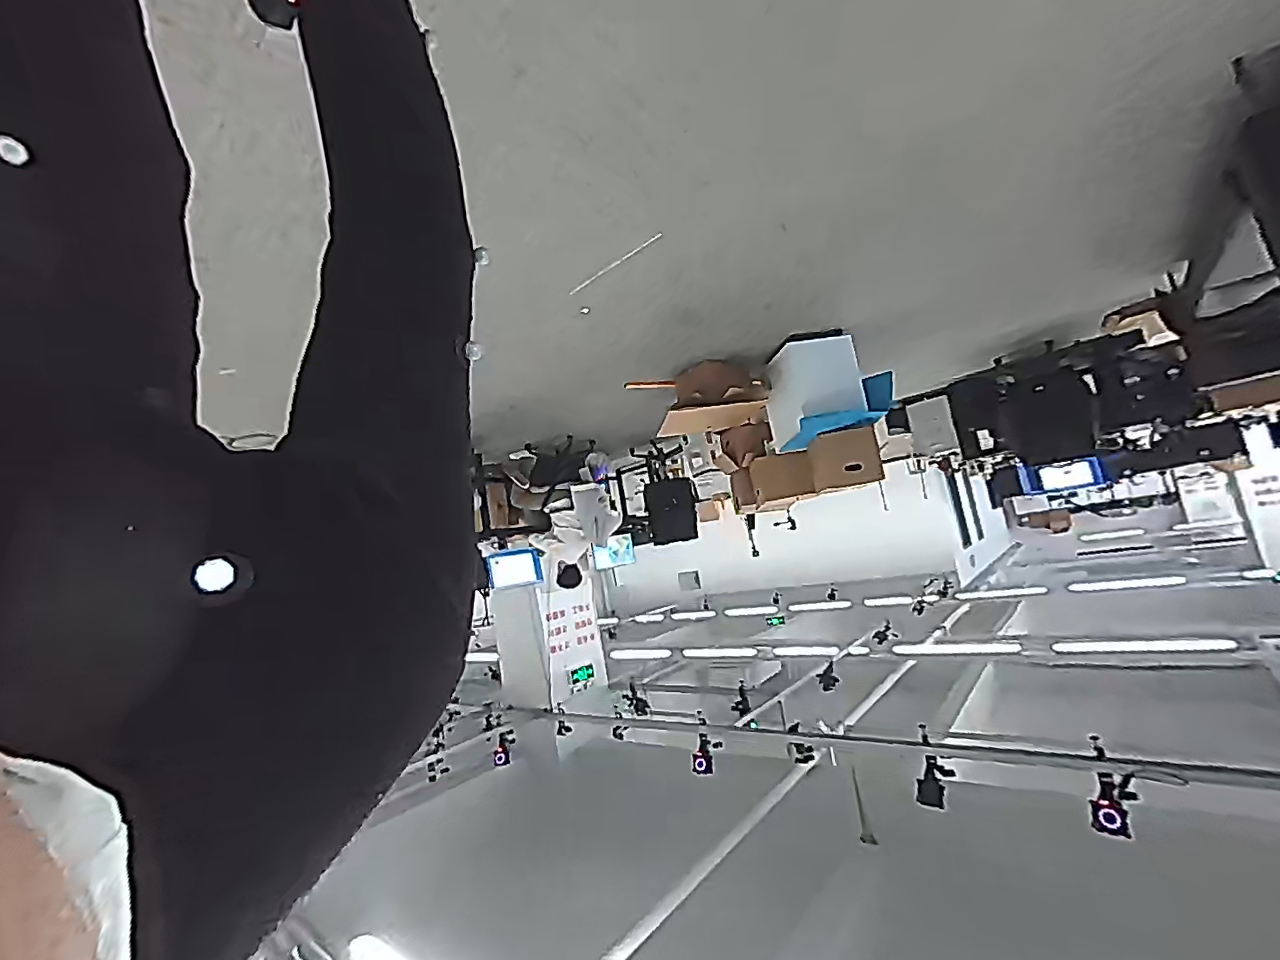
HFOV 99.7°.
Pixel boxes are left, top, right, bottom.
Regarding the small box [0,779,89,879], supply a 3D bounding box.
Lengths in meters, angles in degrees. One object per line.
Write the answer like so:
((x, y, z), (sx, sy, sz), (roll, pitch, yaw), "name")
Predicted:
((-1.665, 0.961, 1.504), (0.168, 0.176, 0.179), (-16, 170, 42), "small box")
